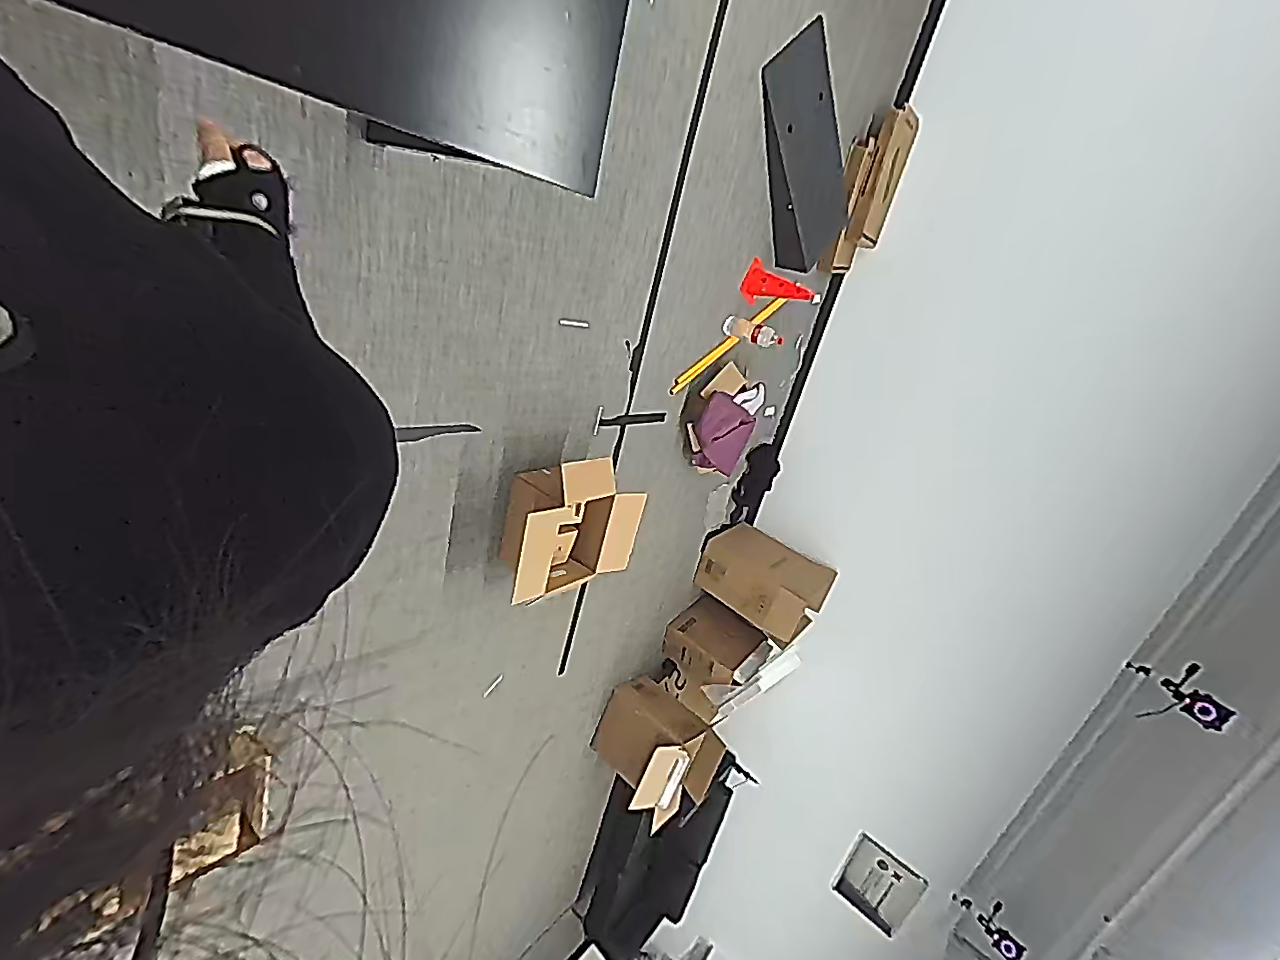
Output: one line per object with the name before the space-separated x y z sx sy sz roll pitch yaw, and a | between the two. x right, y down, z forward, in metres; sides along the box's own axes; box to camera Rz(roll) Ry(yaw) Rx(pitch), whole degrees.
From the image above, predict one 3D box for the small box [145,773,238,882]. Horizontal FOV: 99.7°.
small box | -1.321 1.011 1.592 0.179 0.176 0.168 -6 118 -52
